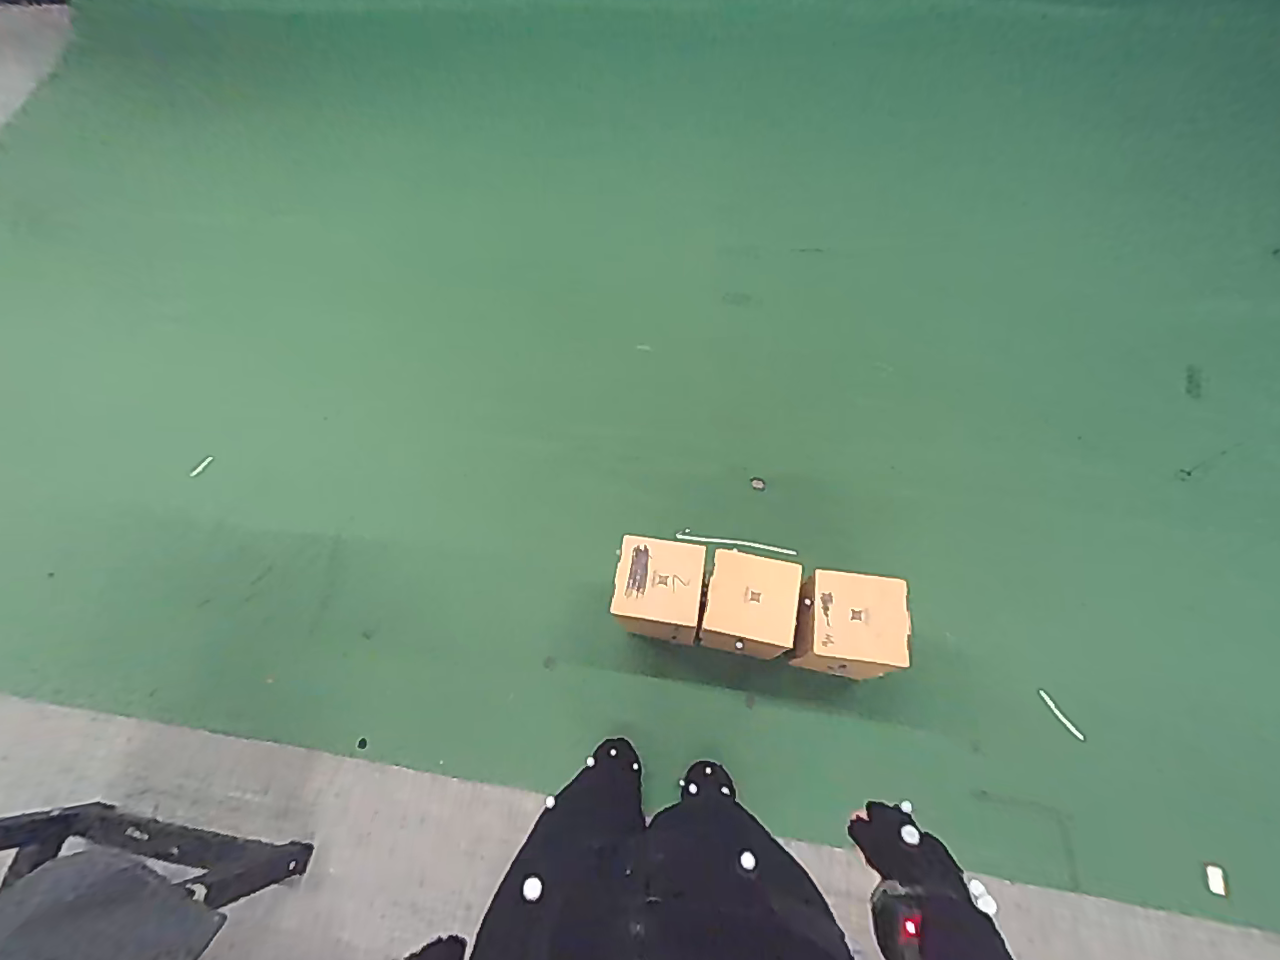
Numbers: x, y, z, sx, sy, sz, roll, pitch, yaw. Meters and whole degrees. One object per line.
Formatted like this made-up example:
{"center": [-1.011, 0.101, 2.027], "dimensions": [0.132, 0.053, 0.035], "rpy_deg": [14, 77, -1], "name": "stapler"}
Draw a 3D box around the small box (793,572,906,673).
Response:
{"center": [0.424, 0.298, 1.109], "dimensions": [0.179, 0.176, 0.168], "rpy_deg": [7, 68, 8], "name": "small box"}
